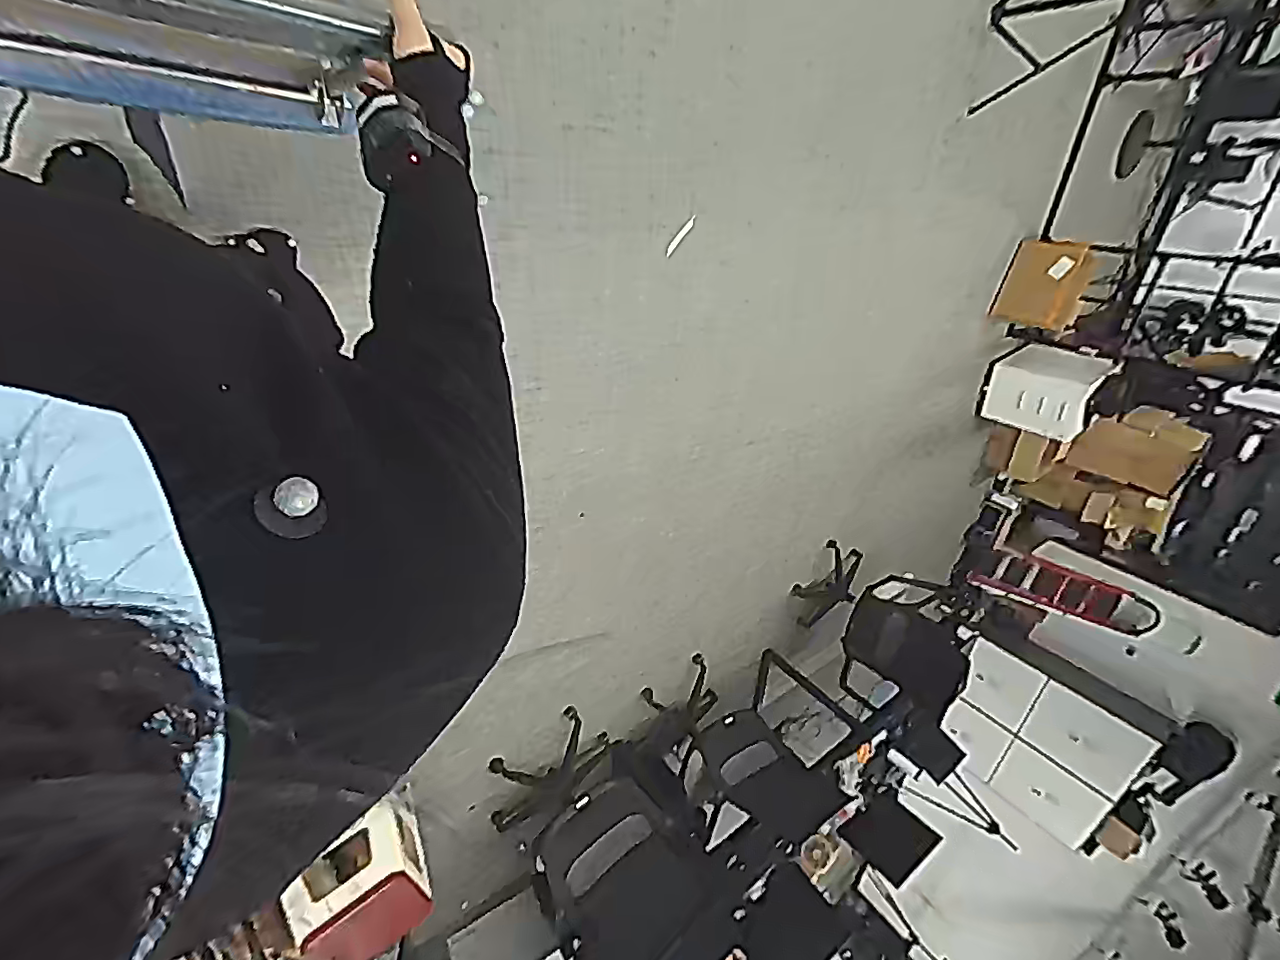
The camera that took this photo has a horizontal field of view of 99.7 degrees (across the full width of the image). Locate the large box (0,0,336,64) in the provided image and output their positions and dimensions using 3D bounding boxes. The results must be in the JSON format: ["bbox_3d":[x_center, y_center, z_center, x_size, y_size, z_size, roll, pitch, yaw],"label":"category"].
[{"bbox_3d":[-0.658,-0.768,0.675,0.408,0.320,0.320,-15,124,-36],"label":"large box"}]
